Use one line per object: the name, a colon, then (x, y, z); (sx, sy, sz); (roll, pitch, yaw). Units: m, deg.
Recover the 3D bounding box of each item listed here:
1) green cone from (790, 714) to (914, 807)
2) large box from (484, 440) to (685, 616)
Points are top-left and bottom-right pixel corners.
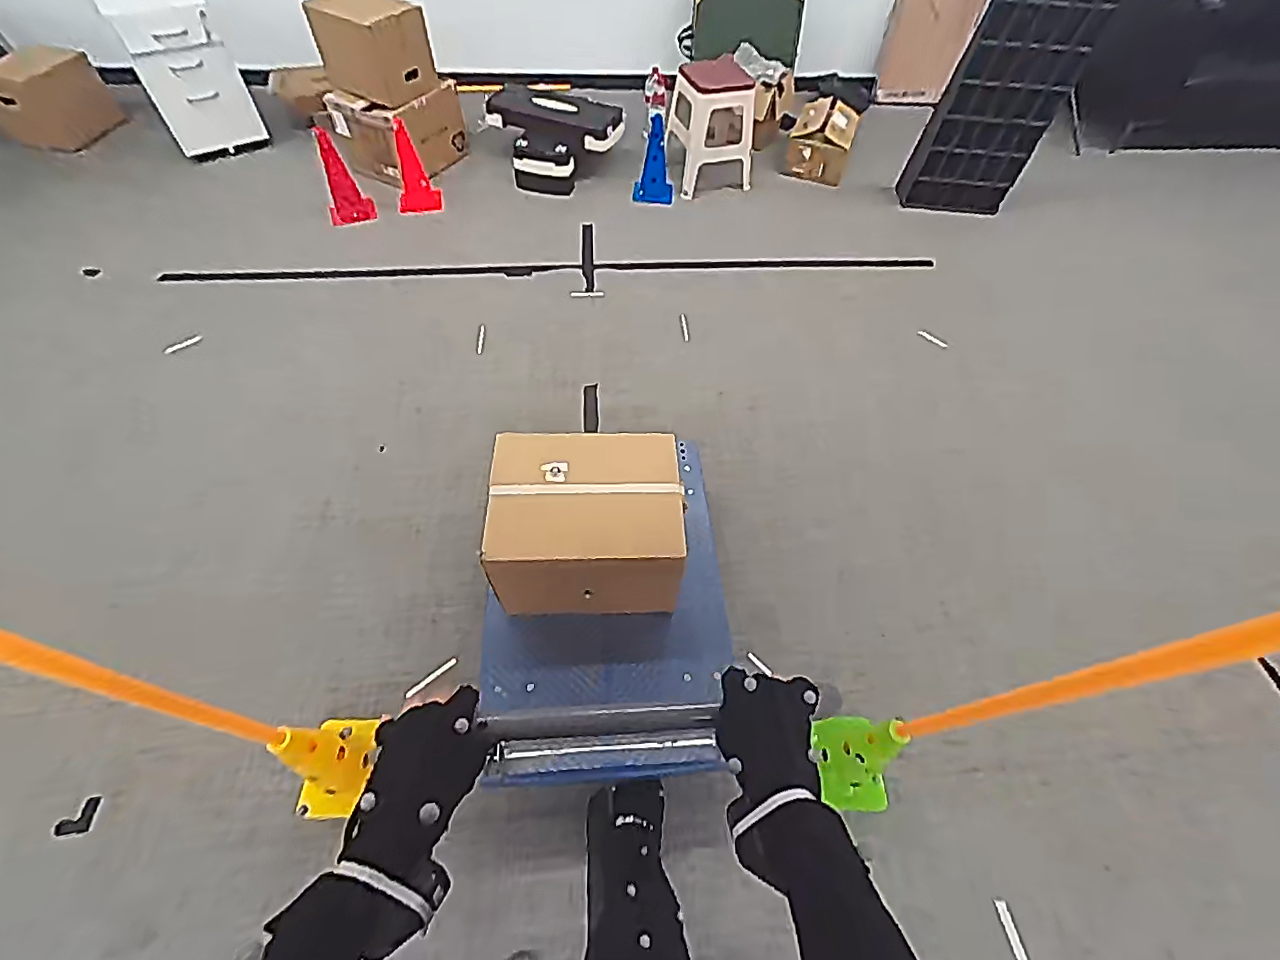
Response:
green cone: (0.481, 0.574, 1.161); (0.202, 0.368, 0.200); (2, 55, -3)
large box: (-0.118, 0.121, 1.274); (0.408, 0.320, 0.320); (-1, 56, -3)
